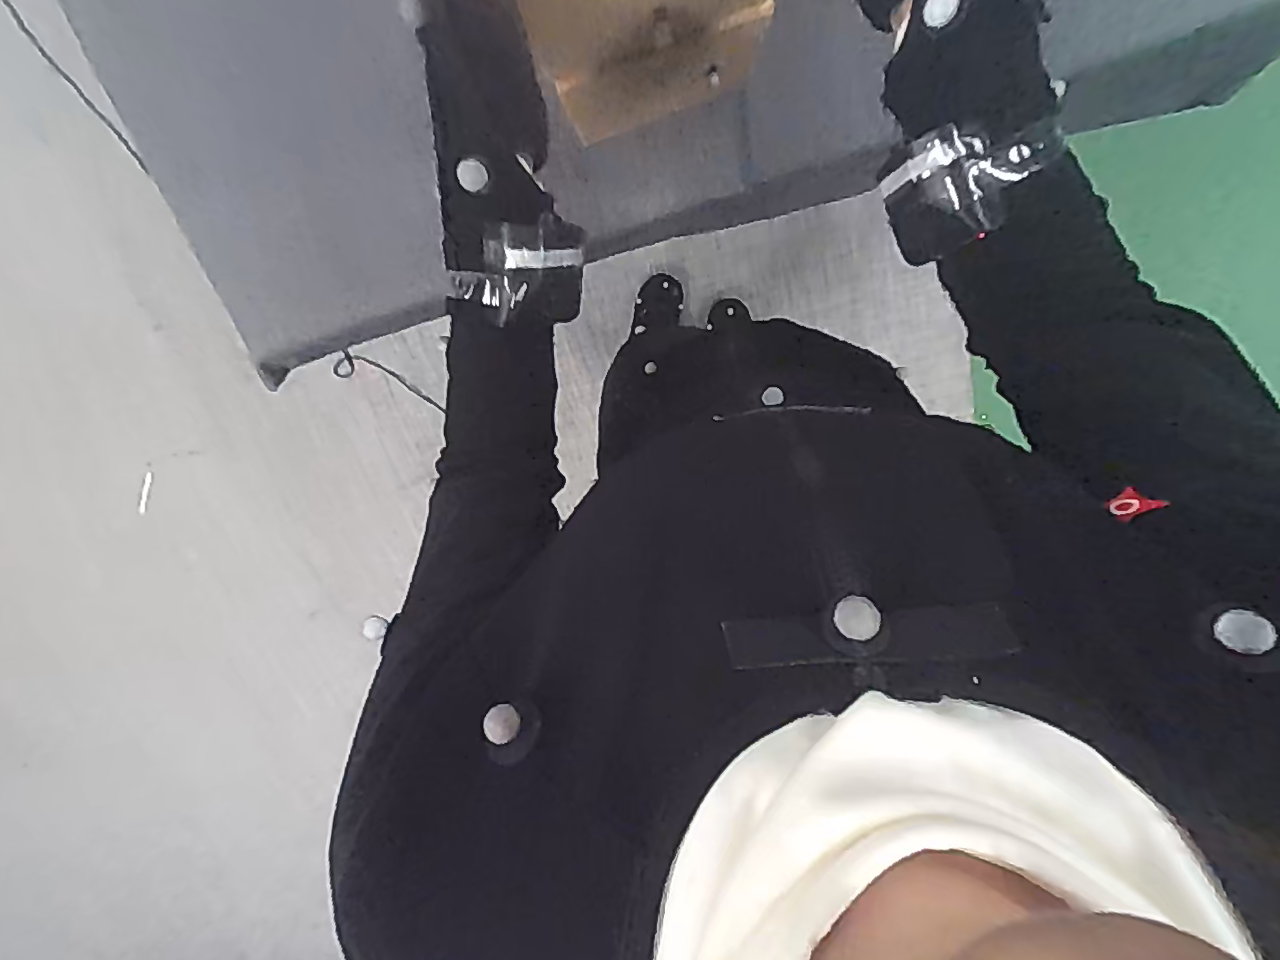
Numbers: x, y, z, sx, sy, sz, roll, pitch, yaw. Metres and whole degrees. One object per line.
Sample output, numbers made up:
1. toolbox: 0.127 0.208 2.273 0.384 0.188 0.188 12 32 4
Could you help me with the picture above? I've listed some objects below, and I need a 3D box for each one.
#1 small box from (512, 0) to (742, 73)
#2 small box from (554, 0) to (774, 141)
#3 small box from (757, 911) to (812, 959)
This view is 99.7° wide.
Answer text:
1. small box: -0.013 -0.378 0.305 0.179 0.176 0.168 -16 106 5
2. small box: -0.003 -0.428 0.466 0.179 0.176 0.168 -17 107 8
3. small box: 0.546 1.771 2.028 0.179 0.176 0.168 -16 109 5
